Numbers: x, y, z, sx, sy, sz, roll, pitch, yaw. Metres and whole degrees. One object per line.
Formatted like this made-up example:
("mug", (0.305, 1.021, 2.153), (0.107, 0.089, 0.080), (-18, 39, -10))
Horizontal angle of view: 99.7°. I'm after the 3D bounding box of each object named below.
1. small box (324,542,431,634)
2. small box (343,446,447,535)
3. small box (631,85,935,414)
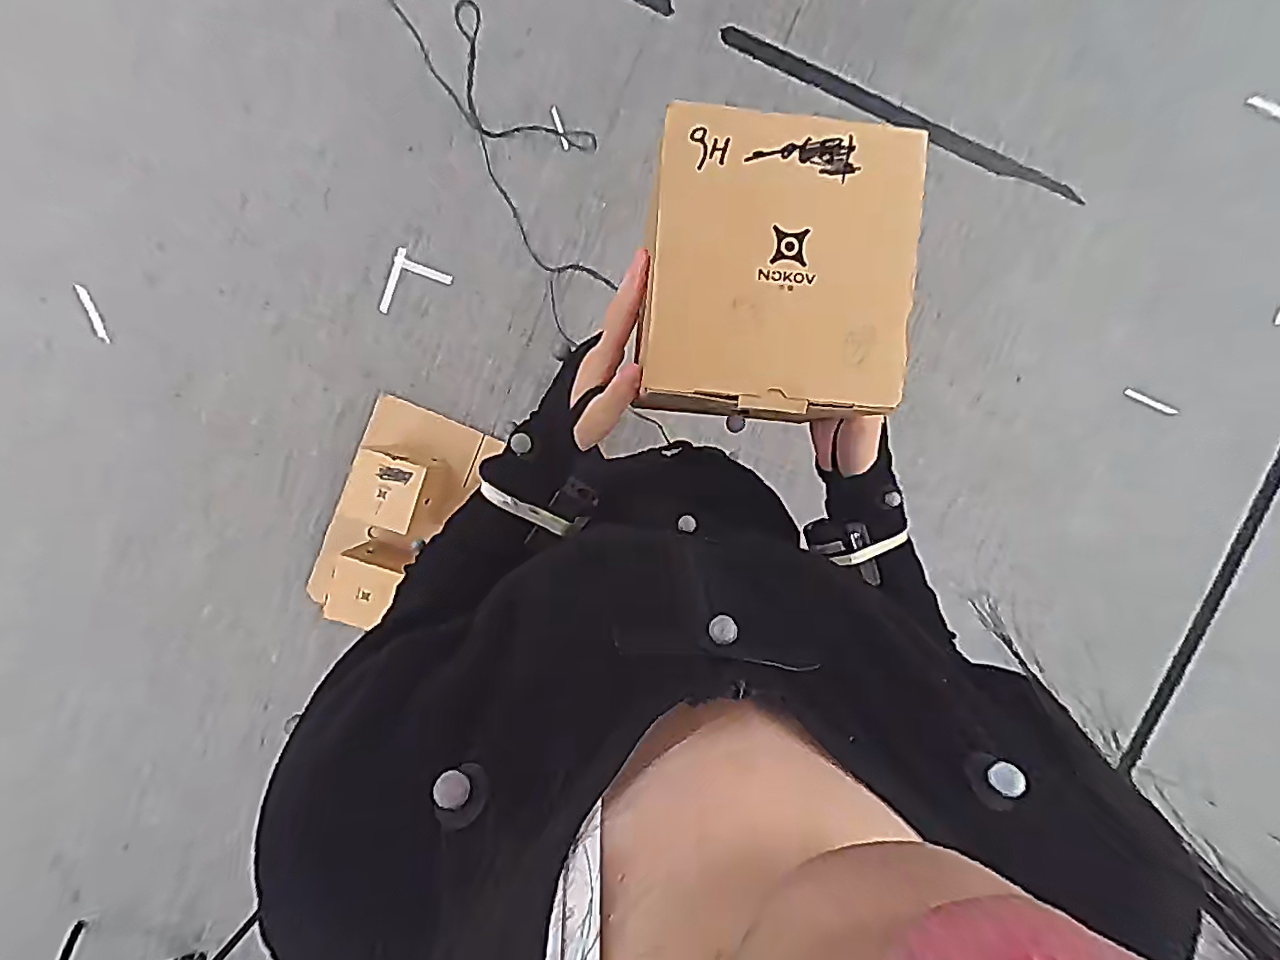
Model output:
("small box", (-0.669, 0.270, 1.395), (0.179, 0.176, 0.168), (17, 96, -3))
("small box", (-0.610, 0.018, 1.371), (0.168, 0.176, 0.179), (19, 95, -3))
("small box", (0.084, -0.144, 0.405), (0.168, 0.176, 0.179), (4, 94, -5))
